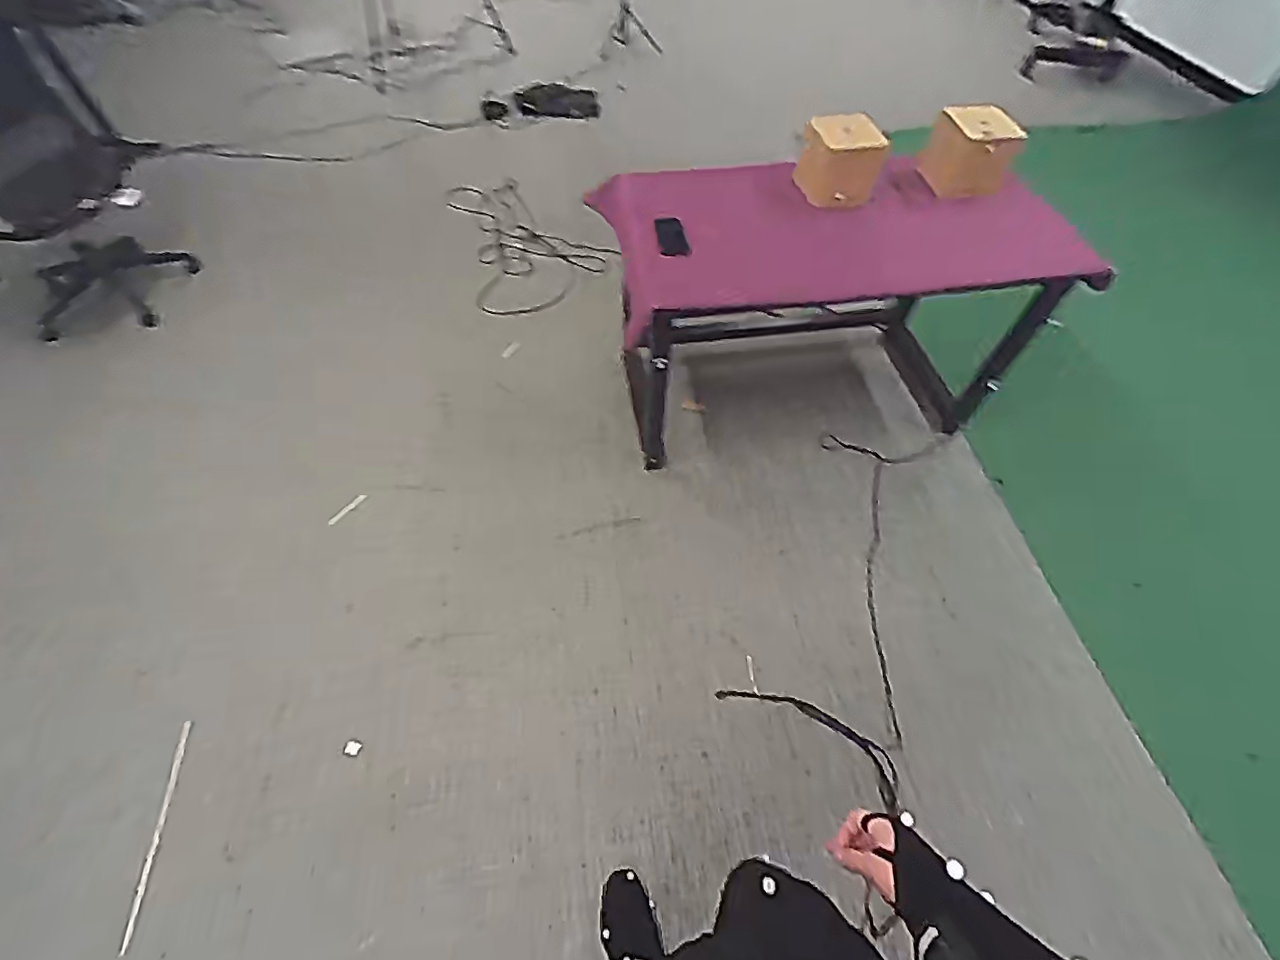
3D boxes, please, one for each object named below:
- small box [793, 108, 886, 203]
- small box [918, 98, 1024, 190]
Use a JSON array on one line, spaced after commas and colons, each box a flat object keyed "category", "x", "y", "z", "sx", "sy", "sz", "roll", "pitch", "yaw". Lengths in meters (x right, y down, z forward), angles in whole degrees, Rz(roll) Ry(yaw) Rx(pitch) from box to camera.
[{"category": "small box", "x": 0.545, "y": -0.904, "z": 1.508, "sx": 0.168, "sy": 0.176, "sz": 0.179, "roll": -8, "pitch": 58, "yaw": -5}, {"category": "small box", "x": 0.930, "y": -0.955, "z": 1.540, "sx": 0.168, "sy": 0.176, "sz": 0.179, "roll": -7, "pitch": 57, "yaw": -3}]
